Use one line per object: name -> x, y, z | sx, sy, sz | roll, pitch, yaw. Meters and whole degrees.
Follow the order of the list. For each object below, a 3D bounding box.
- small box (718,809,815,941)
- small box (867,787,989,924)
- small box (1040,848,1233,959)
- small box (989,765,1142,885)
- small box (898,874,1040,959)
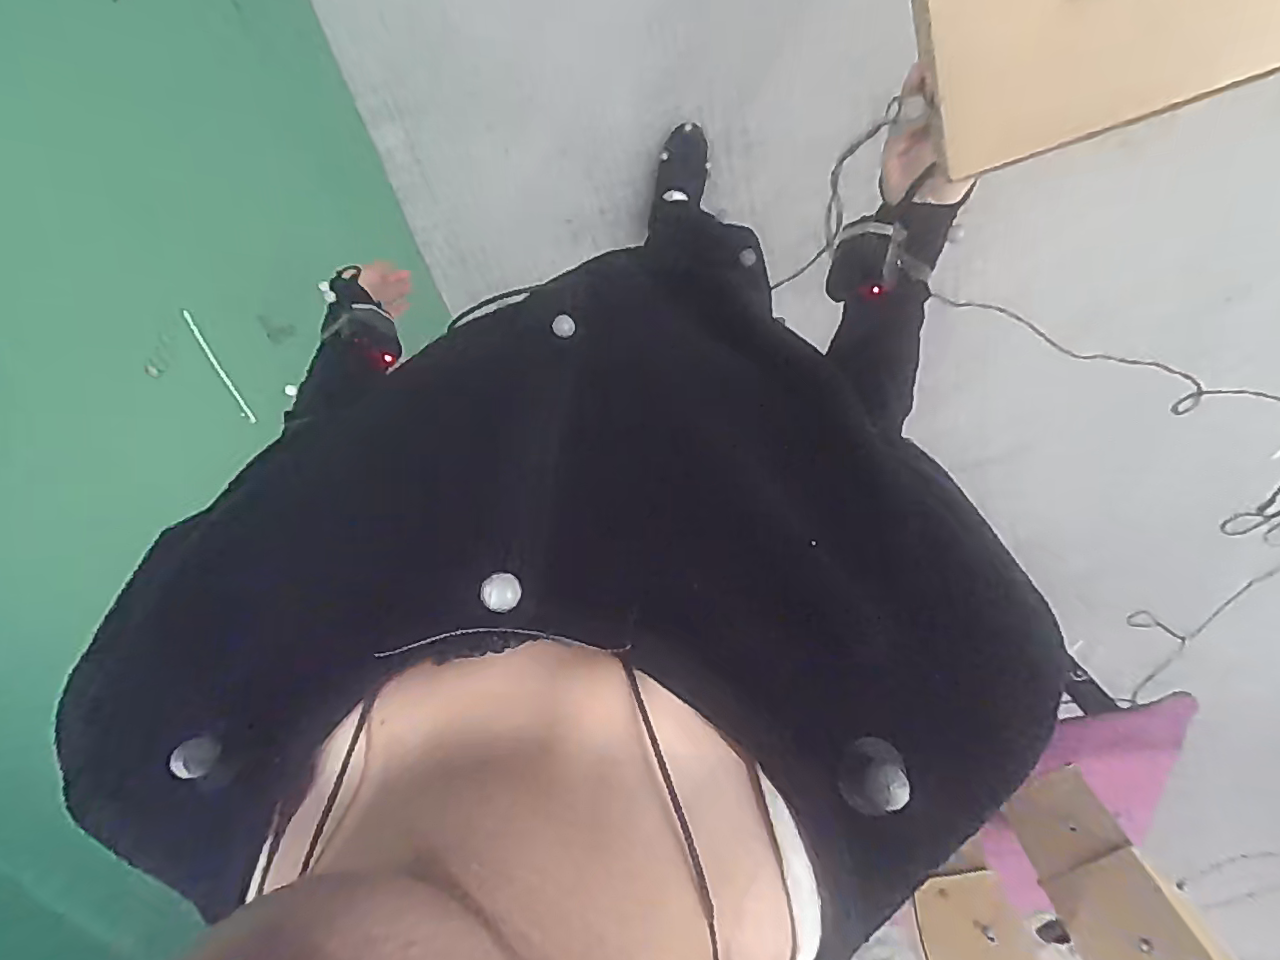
small box -> 0.261, 0.818, 1.132 | 0.168, 0.176, 0.179 | -8, 117, 4
small box -> 0.580, 0.769, 1.112 | 0.168, 0.176, 0.179 | -12, 118, 4
small box -> 0.854, 0.775, 0.931 | 0.168, 0.176, 0.179 | 36, 113, -18
small box -> 0.854, 0.711, 1.084 | 0.179, 0.176, 0.168 | -35, 113, 16
small box -> 0.578, 0.831, 0.961 | 0.168, 0.176, 0.179 | -13, 119, 4
